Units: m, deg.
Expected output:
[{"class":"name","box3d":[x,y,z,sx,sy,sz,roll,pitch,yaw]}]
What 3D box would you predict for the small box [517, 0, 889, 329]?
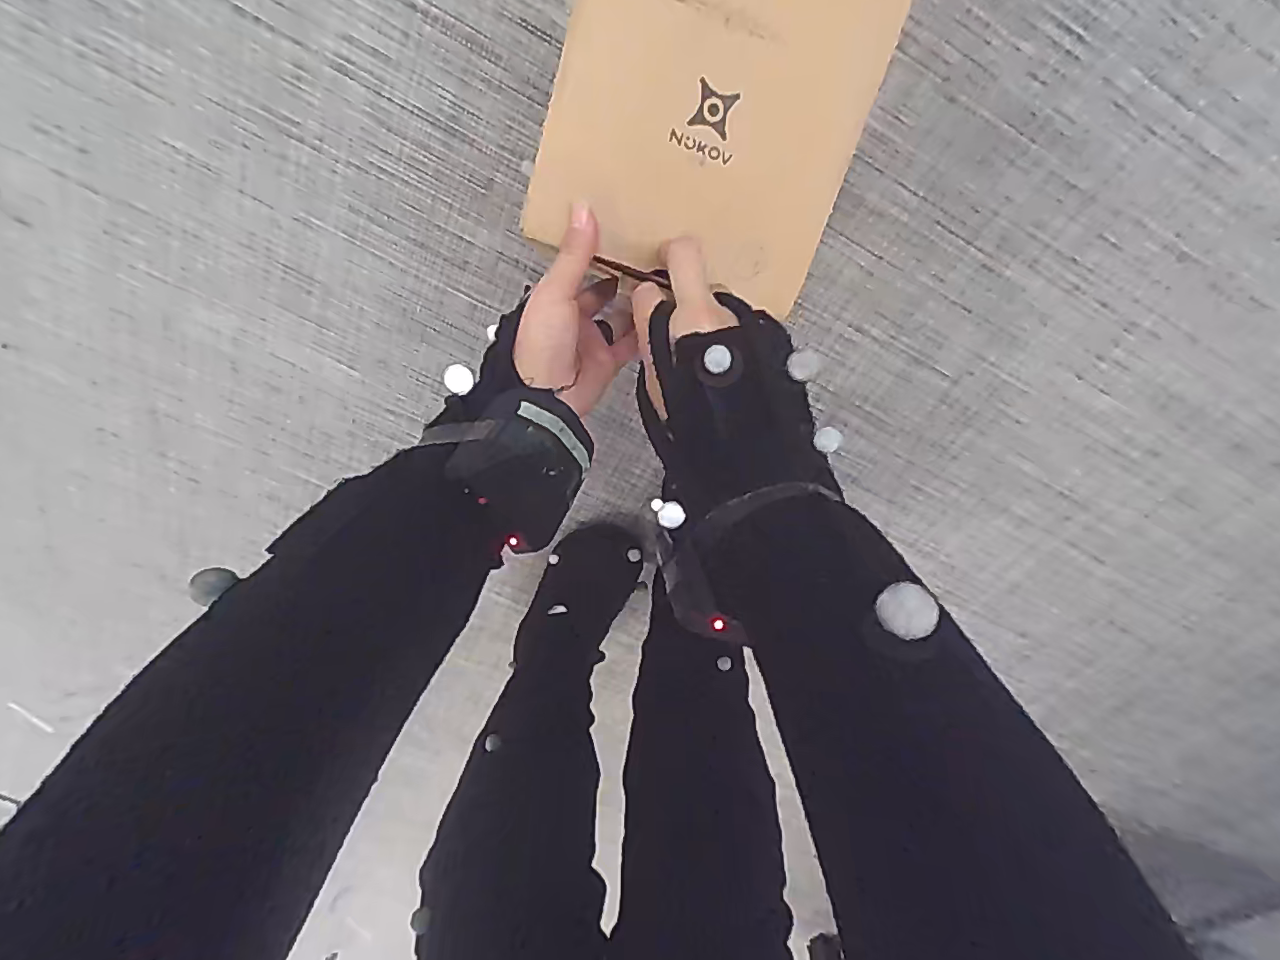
[{"class":"small box","box3d":[0.024,-0.218,0.371,0.168,0.176,0.179,15,106,-12]}]
